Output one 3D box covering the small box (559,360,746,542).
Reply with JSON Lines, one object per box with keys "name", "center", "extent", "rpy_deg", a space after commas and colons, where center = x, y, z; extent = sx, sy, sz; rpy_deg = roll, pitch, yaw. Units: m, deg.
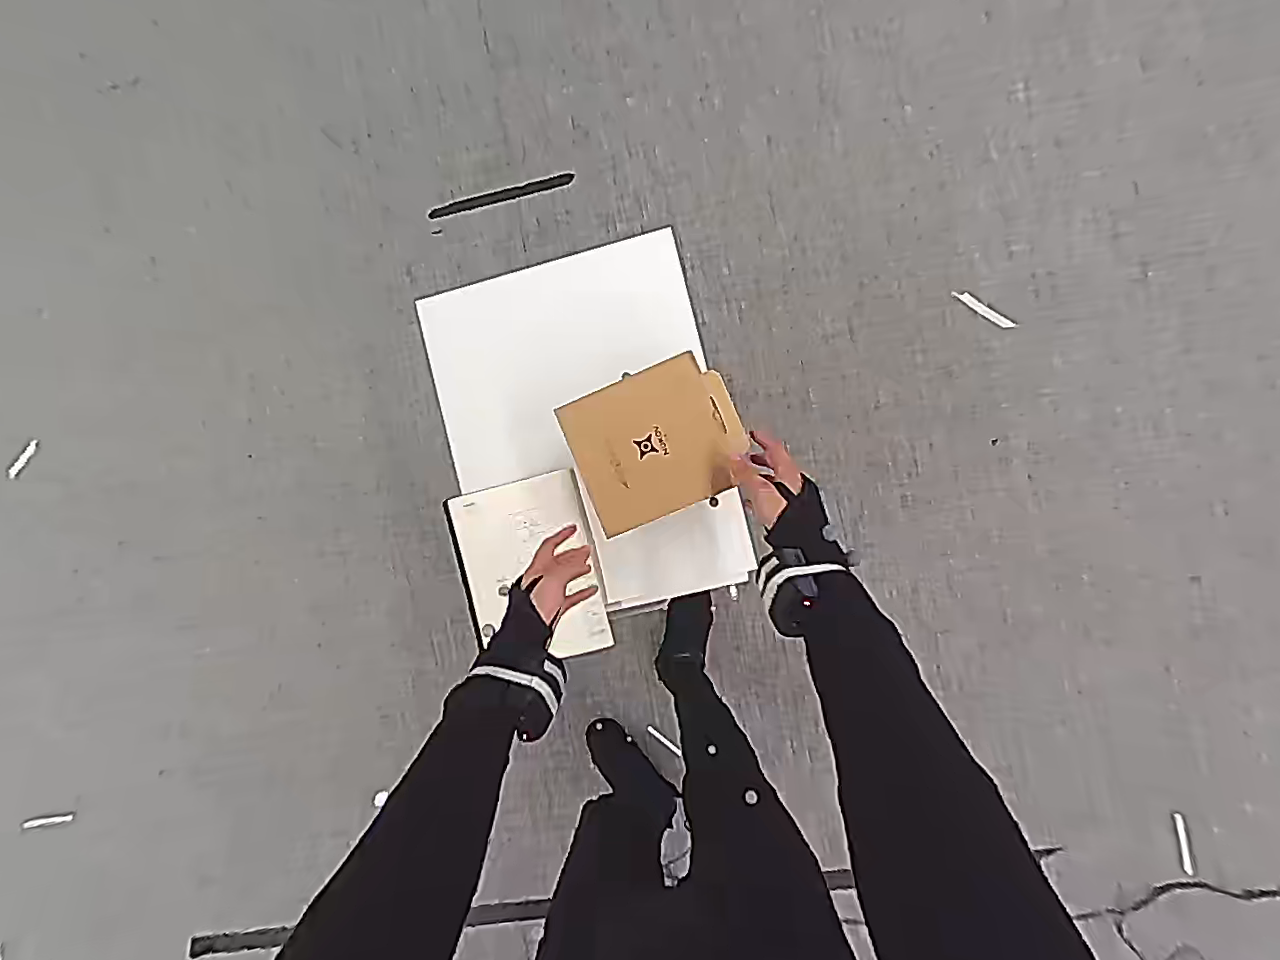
{"name": "small box", "center": [0.020, -0.033, 0.699], "extent": [0.179, 0.176, 0.168], "rpy_deg": [-22, 87, 5]}
